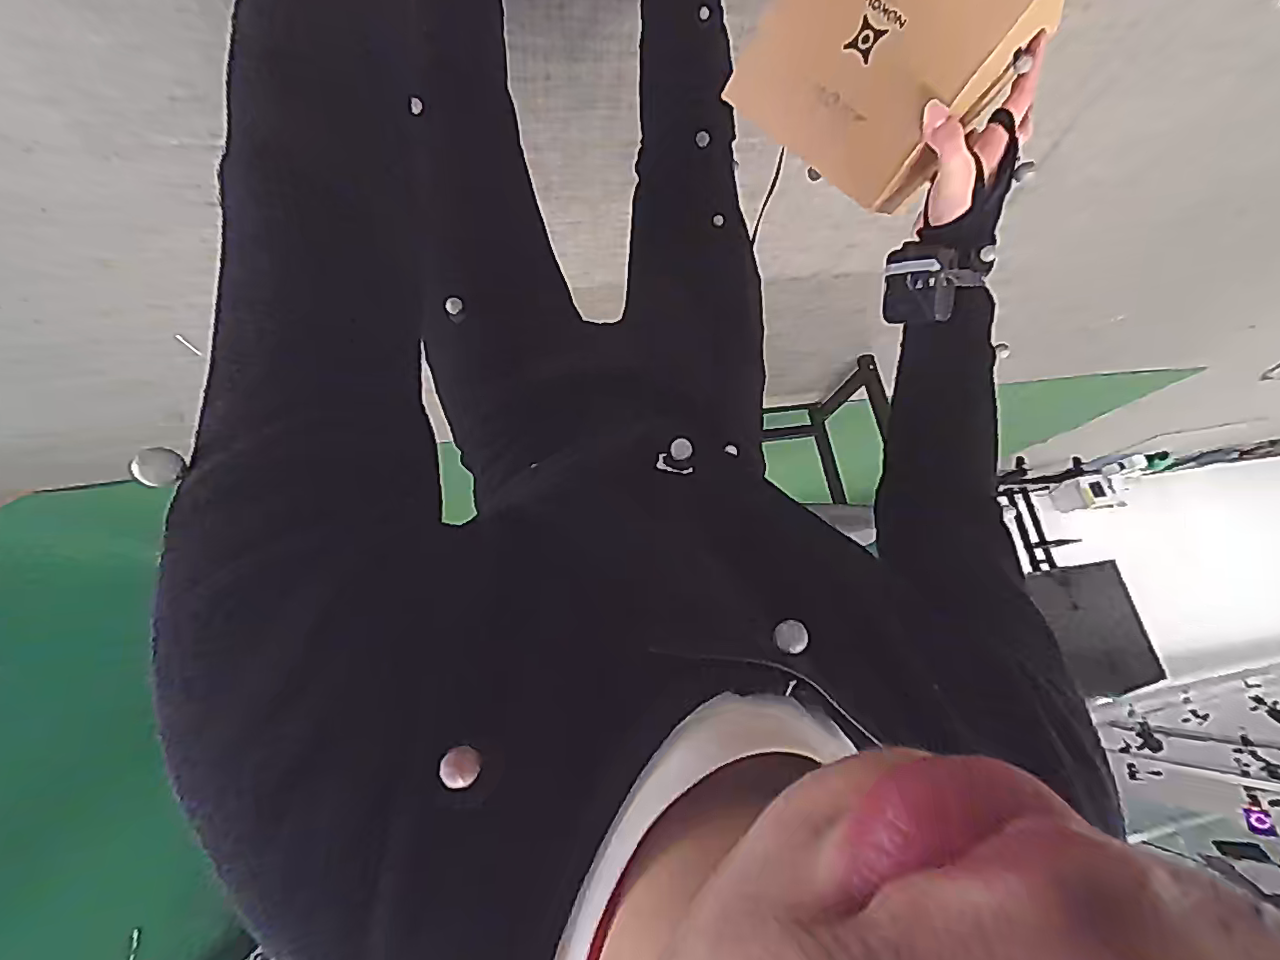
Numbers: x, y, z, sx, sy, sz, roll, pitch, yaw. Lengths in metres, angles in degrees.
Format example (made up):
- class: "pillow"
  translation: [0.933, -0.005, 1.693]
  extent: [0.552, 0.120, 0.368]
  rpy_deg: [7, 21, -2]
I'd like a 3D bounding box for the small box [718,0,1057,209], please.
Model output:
- class: "small box"
  translation: [0.202, -0.353, 0.444]
  extent: [0.176, 0.168, 0.179]
  rpy_deg: [-30, 164, -50]
